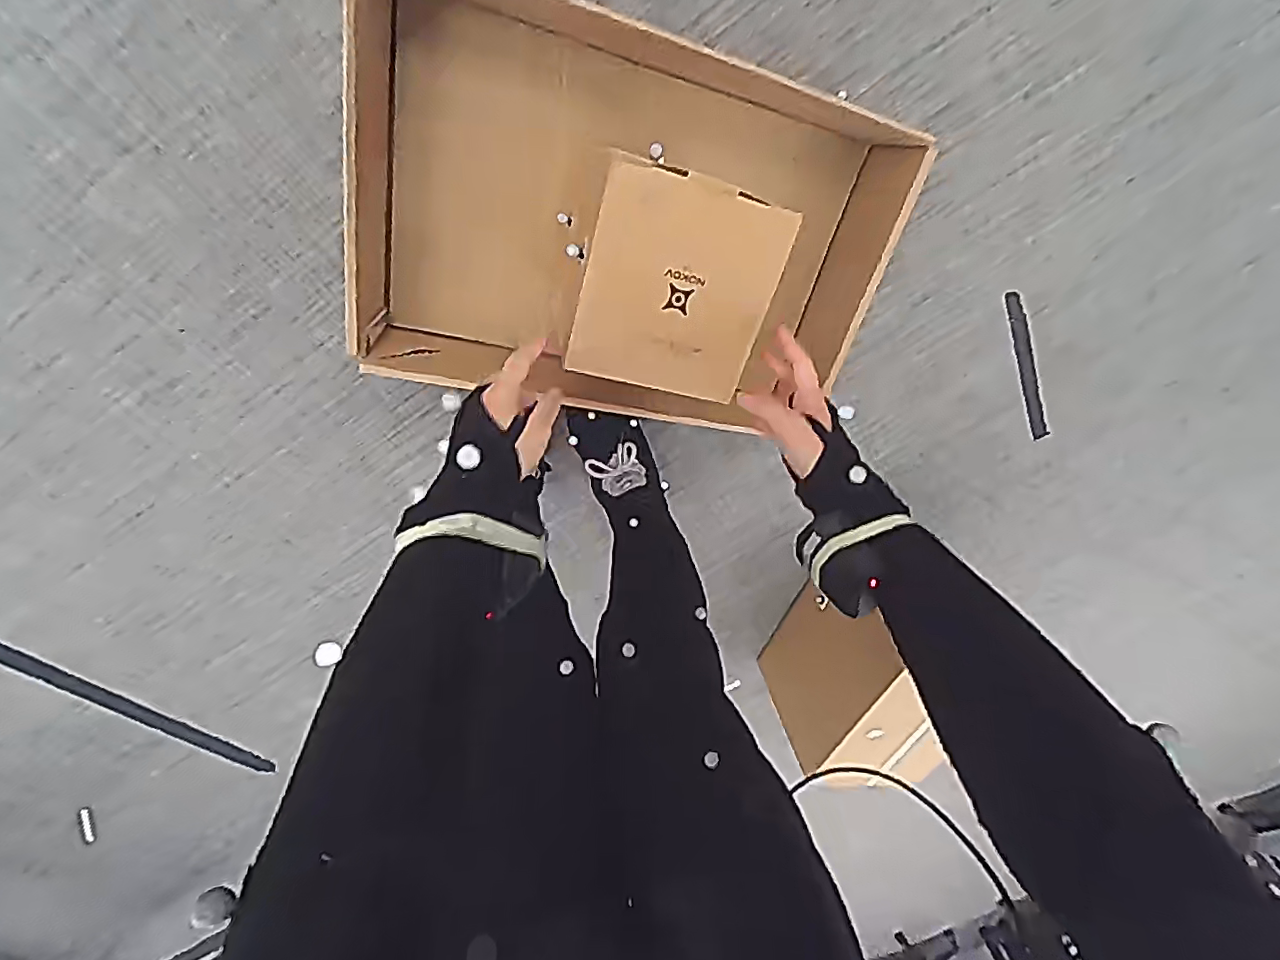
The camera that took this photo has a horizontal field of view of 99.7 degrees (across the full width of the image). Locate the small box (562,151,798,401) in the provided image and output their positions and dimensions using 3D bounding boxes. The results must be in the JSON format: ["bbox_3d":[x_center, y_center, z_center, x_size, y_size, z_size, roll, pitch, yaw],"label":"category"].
[{"bbox_3d":[0.020,-0.203,0.531,0.168,0.176,0.179,9,121,-16],"label":"small box"}]
